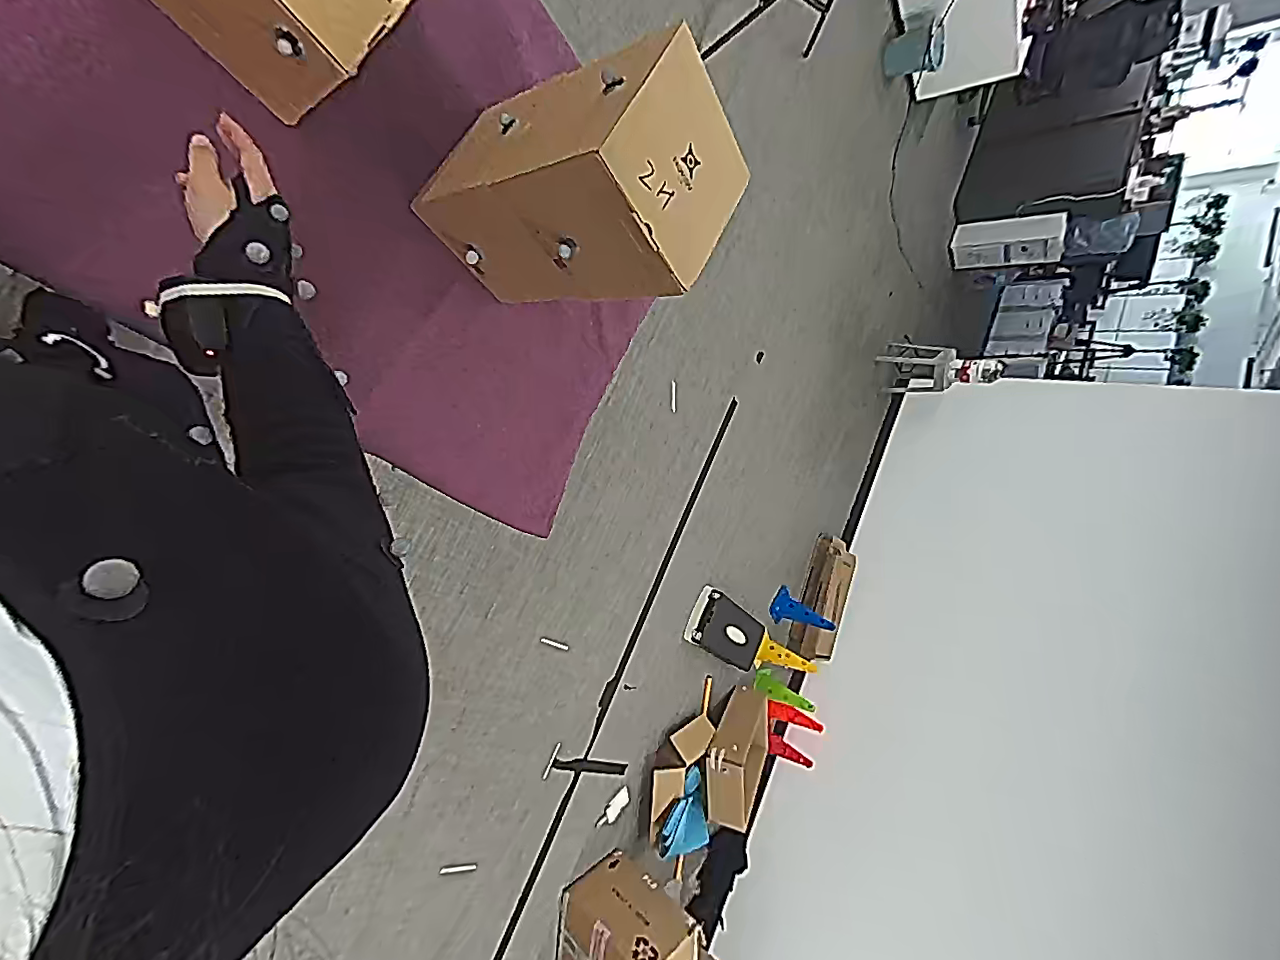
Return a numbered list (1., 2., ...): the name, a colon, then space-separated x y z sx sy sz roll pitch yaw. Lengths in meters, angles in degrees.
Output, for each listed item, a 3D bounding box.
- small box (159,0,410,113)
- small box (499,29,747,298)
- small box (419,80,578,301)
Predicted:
1. small box: -0.311 -0.459 0.456 0.179 0.176 0.168 40 70 -48
2. small box: -0.016 -0.318 0.578 0.168 0.176 0.179 44 67 -45
3. small box: -0.141 -0.349 0.682 0.168 0.176 0.179 45 67 -45
